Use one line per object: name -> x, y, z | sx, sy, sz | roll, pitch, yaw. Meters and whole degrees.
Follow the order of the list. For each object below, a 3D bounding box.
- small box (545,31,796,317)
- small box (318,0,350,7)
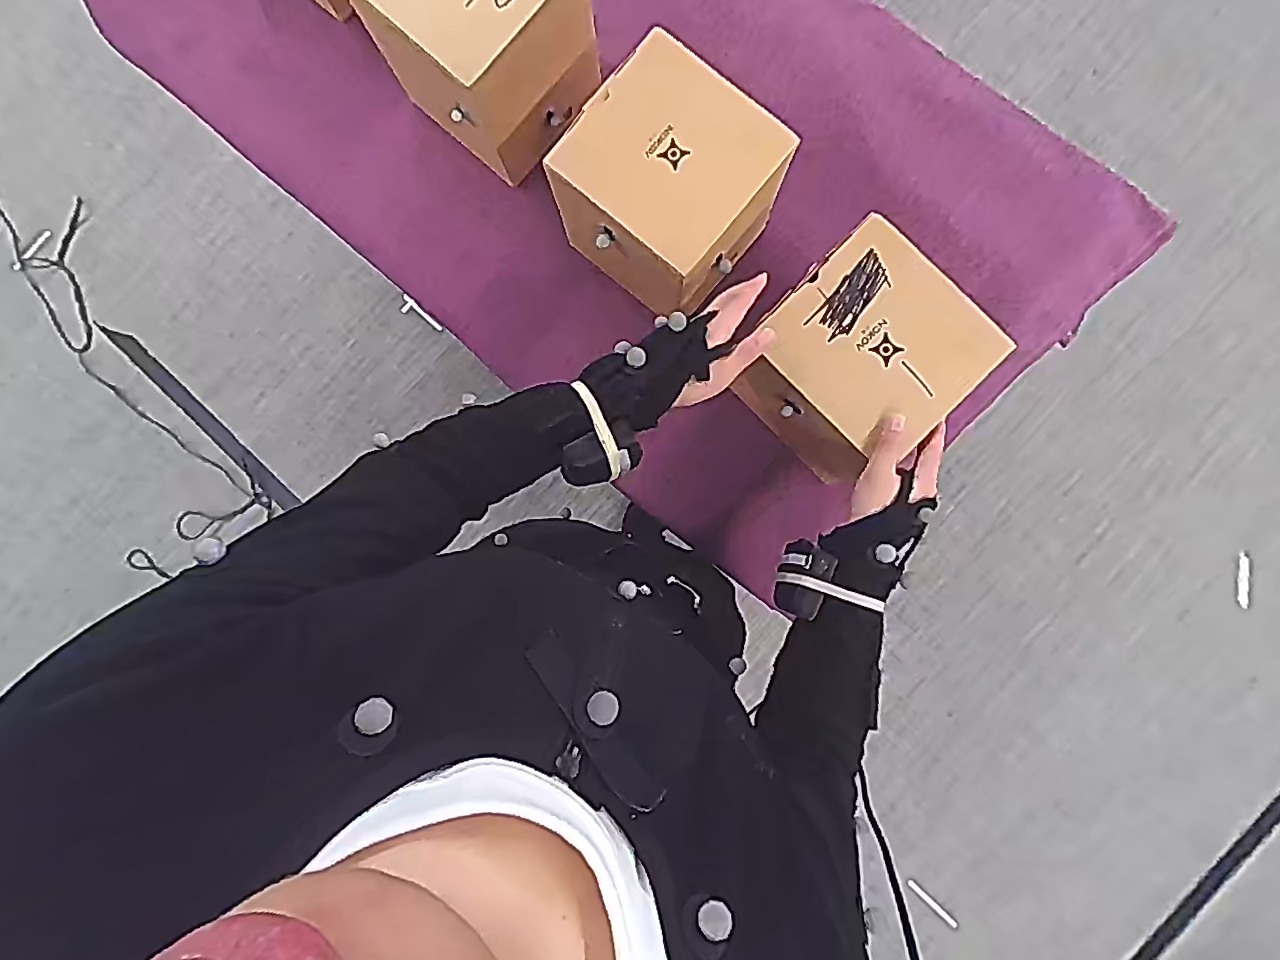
small box -> 0.031, -0.299, 0.577 | 0.179, 0.176, 0.168 | 40, 90, 3
small box -> -0.383, -0.688, 0.597 | 0.179, 0.176, 0.168 | 40, 90, 0
